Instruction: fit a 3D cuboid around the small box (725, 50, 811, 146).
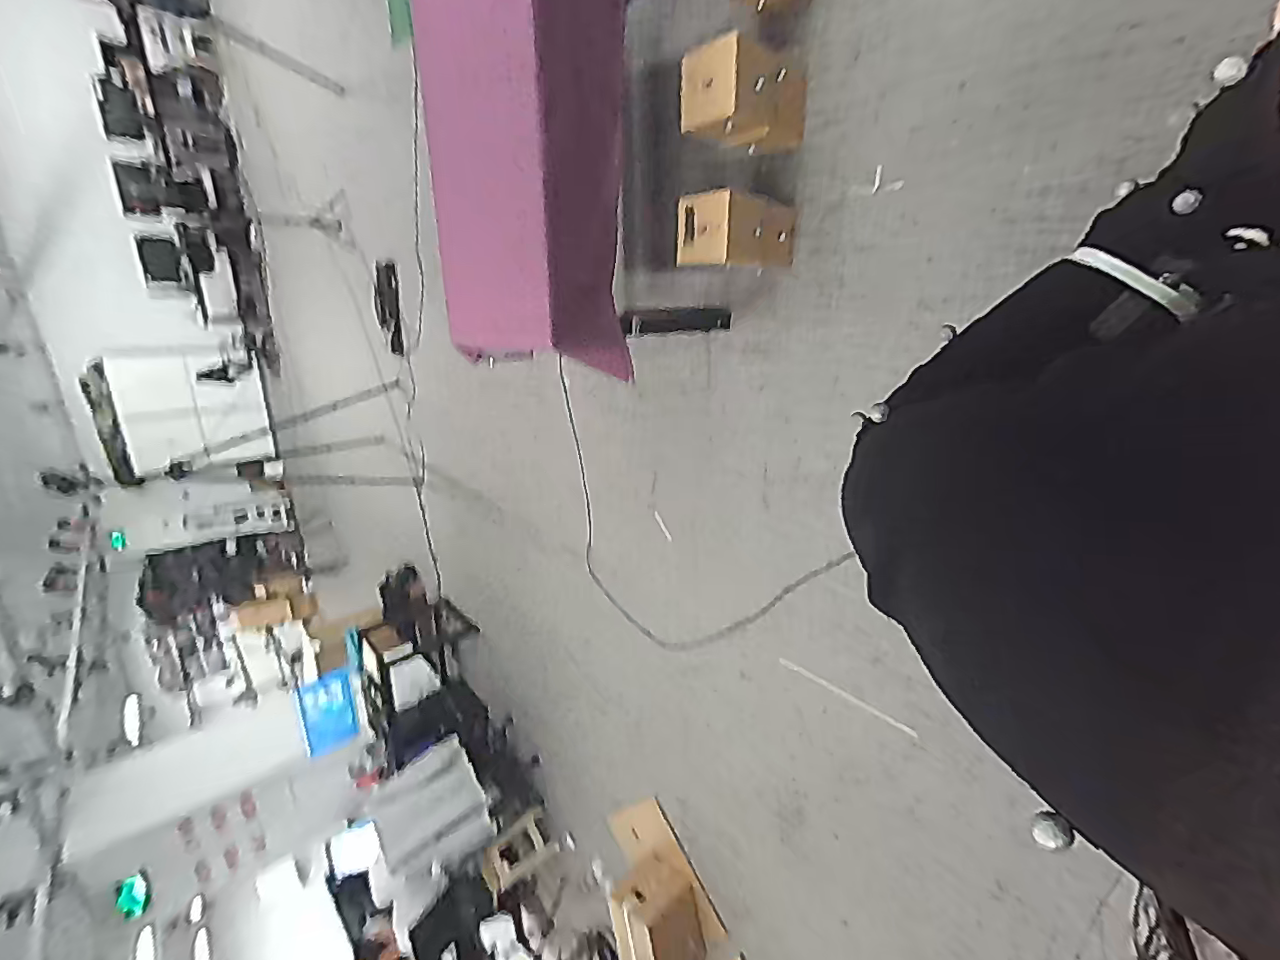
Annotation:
[{"bbox_3d":[0.356,-1.047,1.501,0.168,0.176,0.179,20,116,44],"label":"small box"}]
